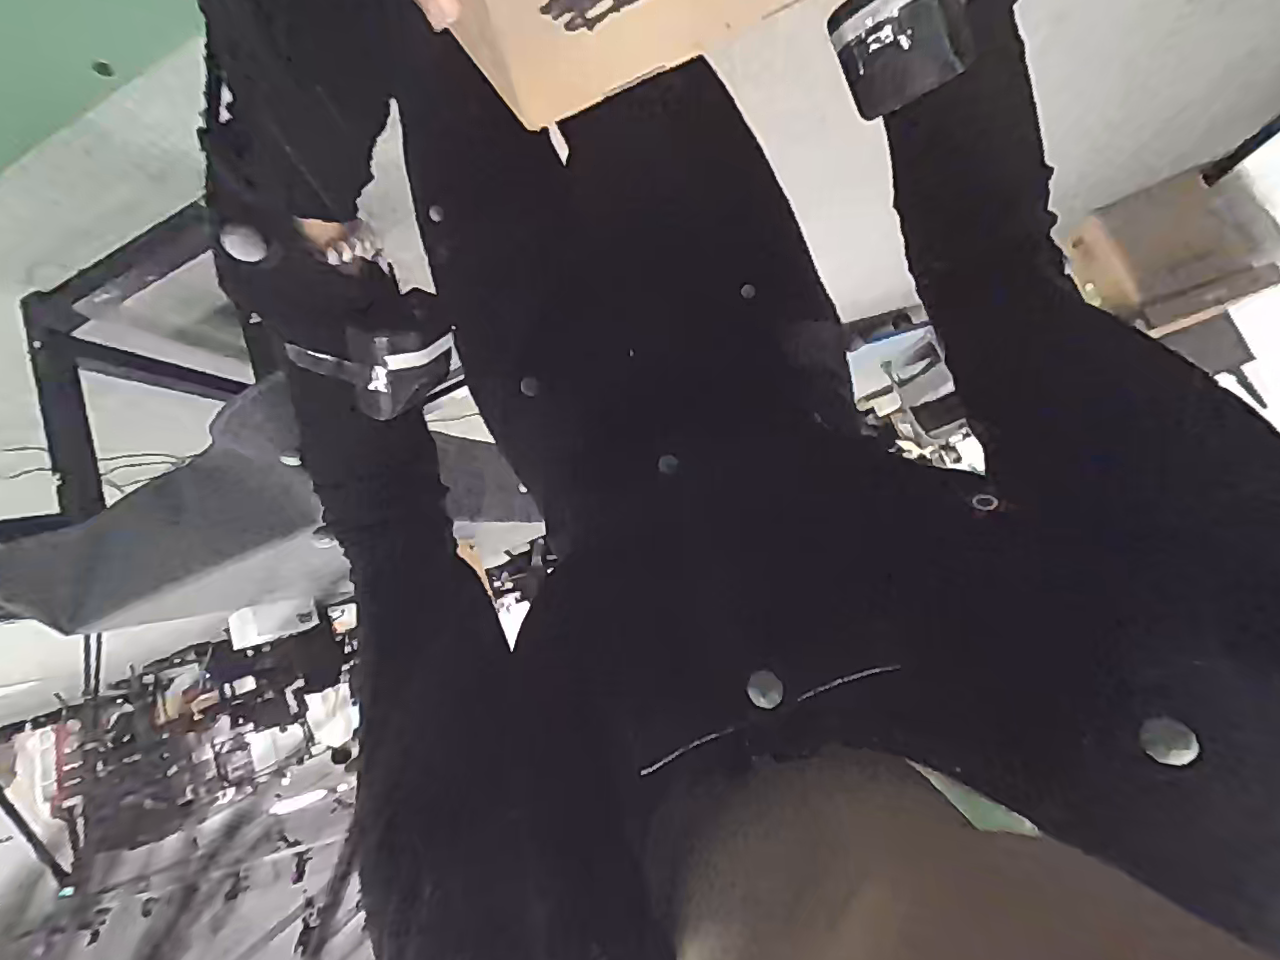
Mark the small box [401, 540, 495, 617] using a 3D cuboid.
[{"bbox_3d":[-0.557,0.277,1.567,0.179,0.176,0.168,-22,170,11],"label":"small box"}]
